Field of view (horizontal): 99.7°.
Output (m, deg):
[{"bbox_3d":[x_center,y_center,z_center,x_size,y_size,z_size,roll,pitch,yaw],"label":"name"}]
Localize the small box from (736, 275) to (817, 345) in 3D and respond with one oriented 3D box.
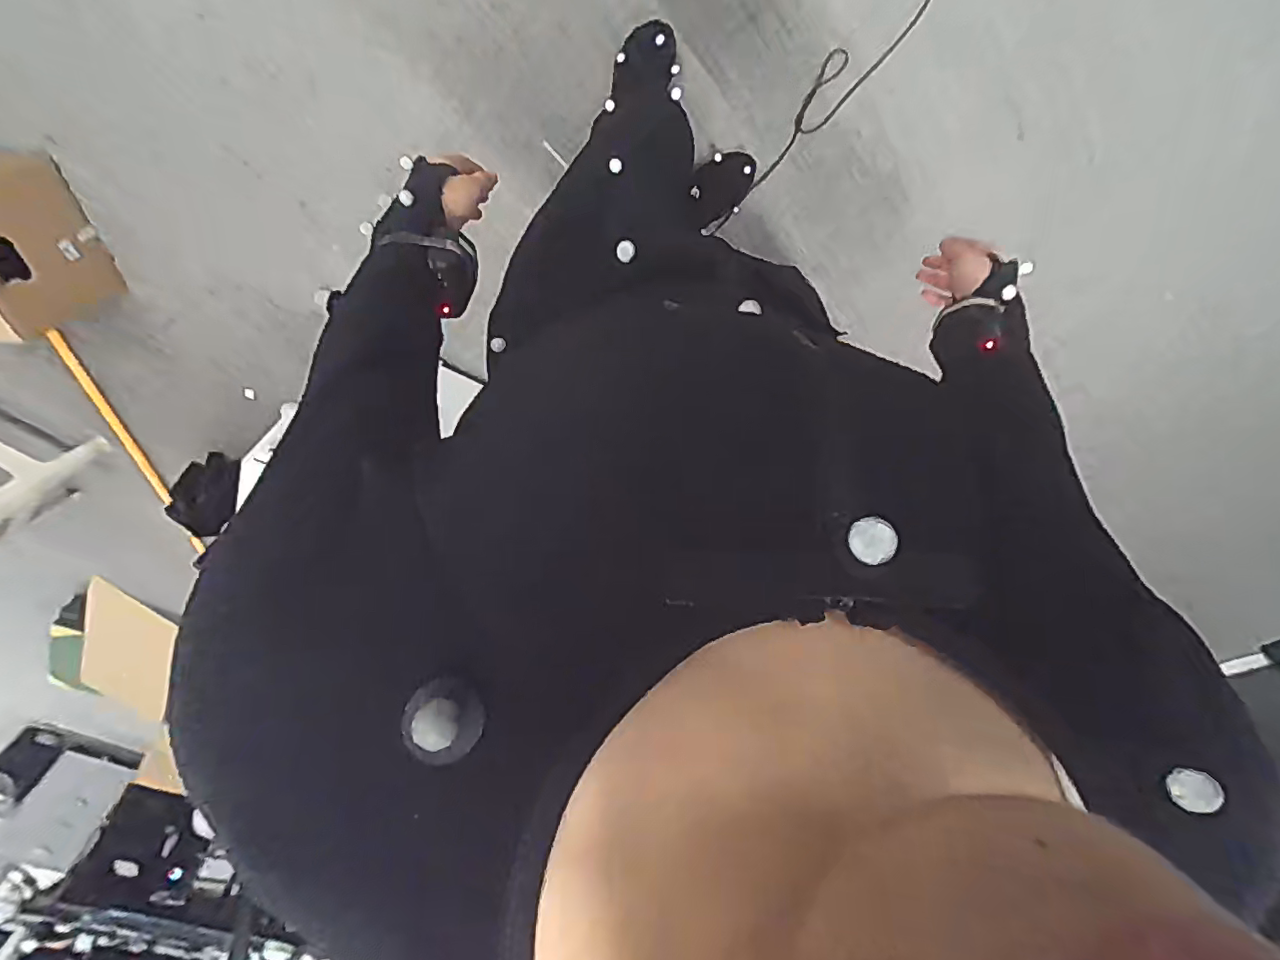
[{"bbox_3d":[0.358,-0.385,1.353,0.168,0.176,0.179,-35,121,28],"label":"small box"}]
